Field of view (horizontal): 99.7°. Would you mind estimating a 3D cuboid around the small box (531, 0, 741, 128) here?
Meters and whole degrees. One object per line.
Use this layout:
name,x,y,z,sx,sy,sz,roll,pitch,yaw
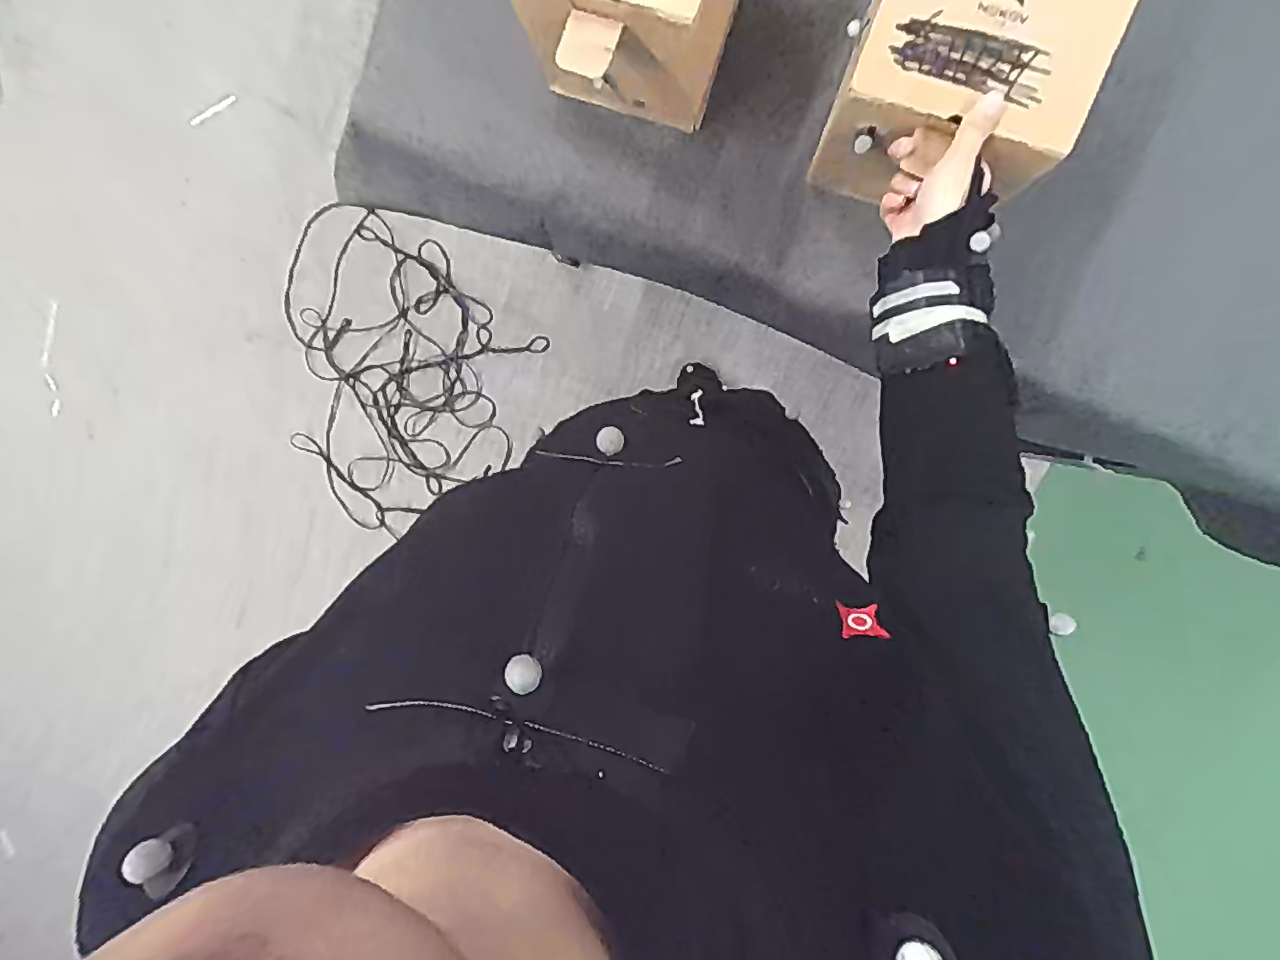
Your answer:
small box,0.004,-0.459,0.473,0.168,0.176,0.179,19,99,3
